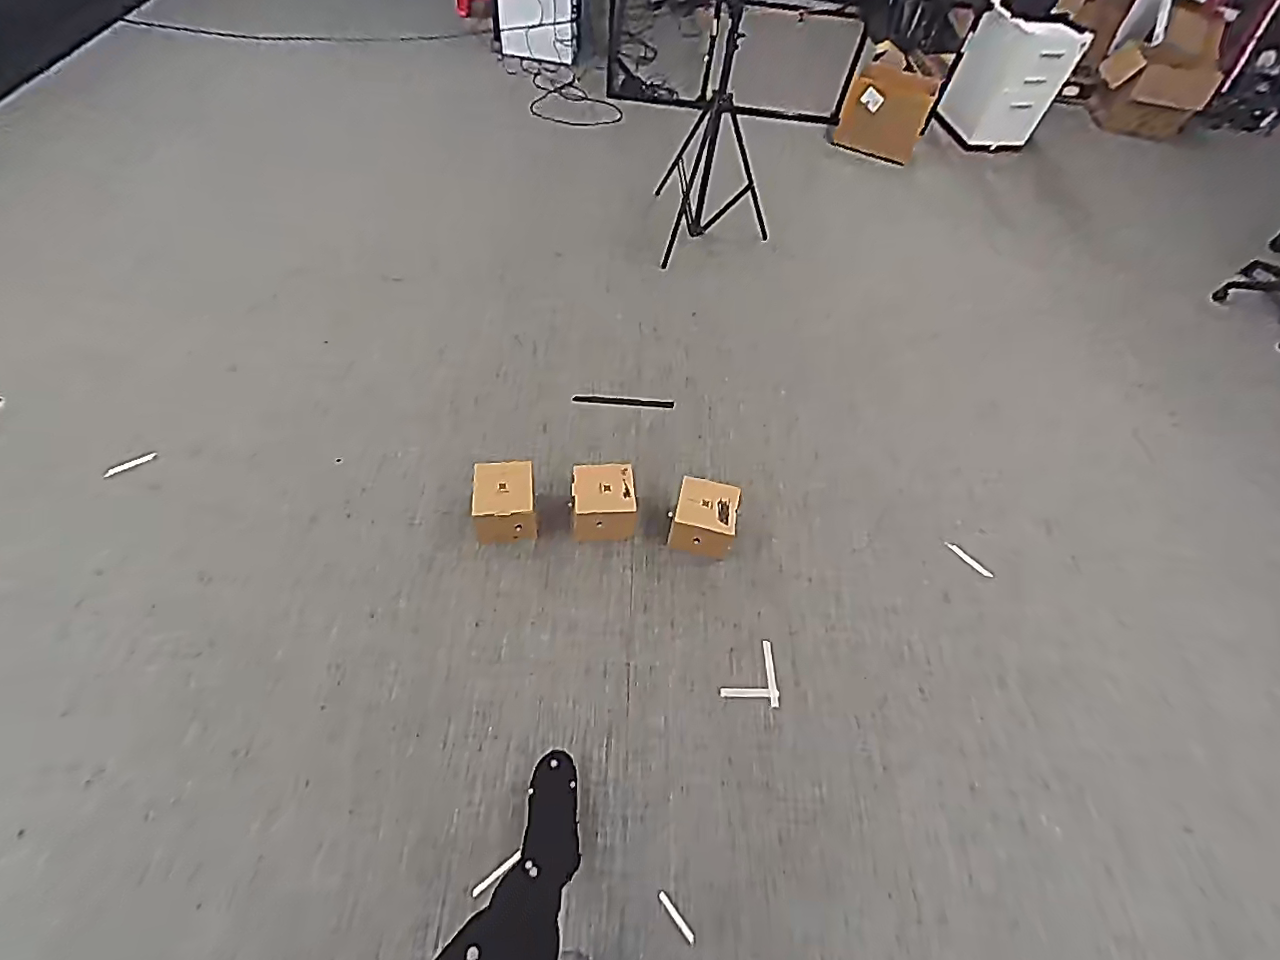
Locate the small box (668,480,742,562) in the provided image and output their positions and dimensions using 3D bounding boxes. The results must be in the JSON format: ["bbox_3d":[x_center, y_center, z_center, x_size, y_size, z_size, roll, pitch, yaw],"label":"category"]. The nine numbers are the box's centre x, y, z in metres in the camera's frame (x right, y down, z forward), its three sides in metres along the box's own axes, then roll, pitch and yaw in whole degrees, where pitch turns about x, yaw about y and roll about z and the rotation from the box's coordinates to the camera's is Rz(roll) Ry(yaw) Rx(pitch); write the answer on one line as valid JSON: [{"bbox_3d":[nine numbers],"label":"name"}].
[{"bbox_3d":[0.191,0.127,1.618,0.179,0.176,0.168,13,56,3],"label":"small box"}]

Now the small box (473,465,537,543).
[{"bbox_3d":[-0.391,0.076,1.586,0.168,0.176,0.179,-3,56,-10],"label":"small box"}]

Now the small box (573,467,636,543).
[{"bbox_3d":[-0.108,0.078,1.616,0.179,0.176,0.168,-2,57,-7],"label":"small box"}]
